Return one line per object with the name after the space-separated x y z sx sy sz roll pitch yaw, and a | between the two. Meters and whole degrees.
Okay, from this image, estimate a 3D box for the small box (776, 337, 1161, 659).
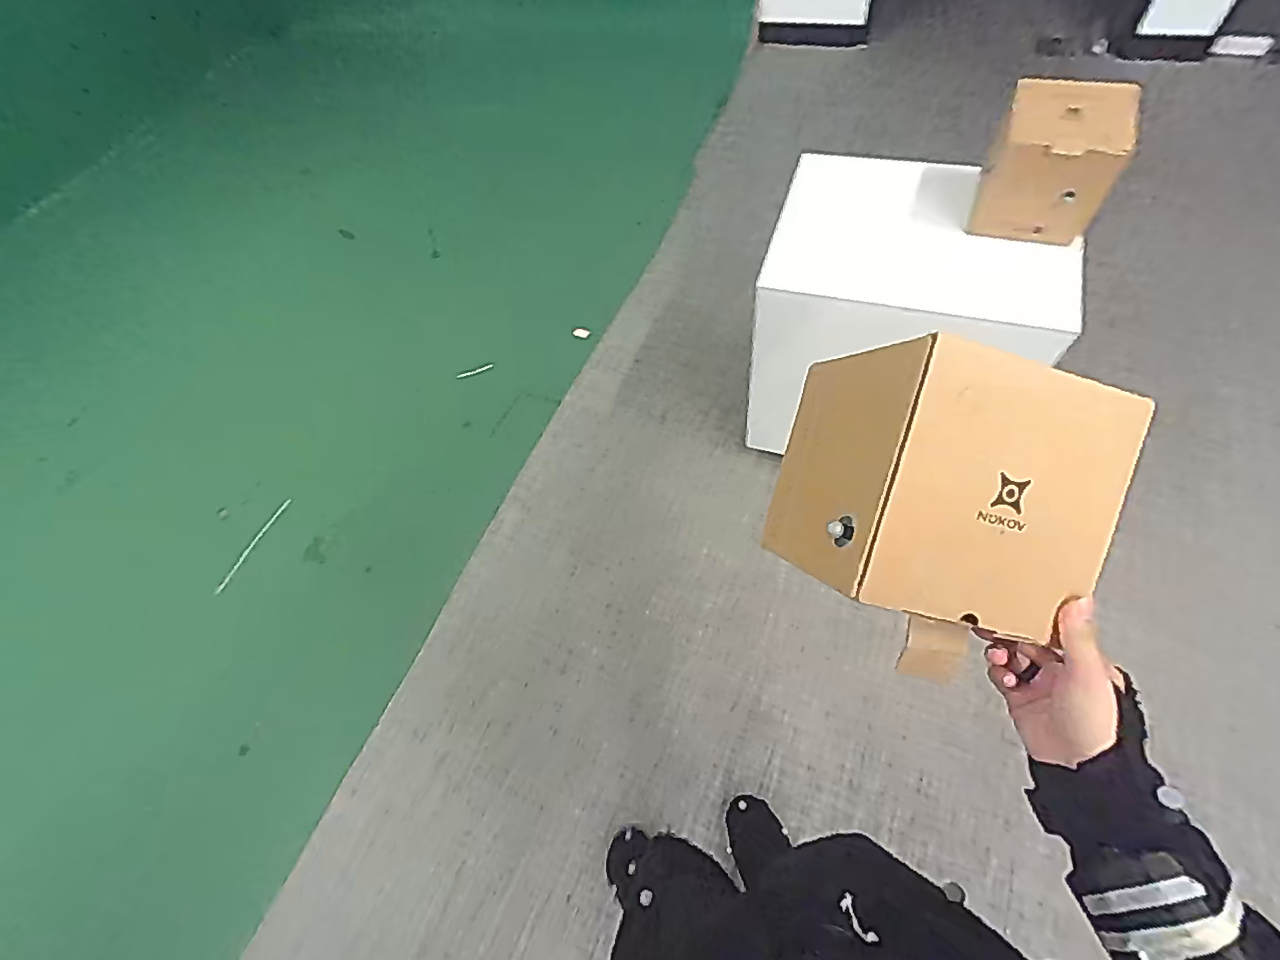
0.227 0.008 0.421 0.168 0.176 0.179 15 94 -9 | small box

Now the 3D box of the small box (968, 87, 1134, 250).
0.674 -0.515 0.903 0.168 0.176 0.179 17 65 17 | small box
